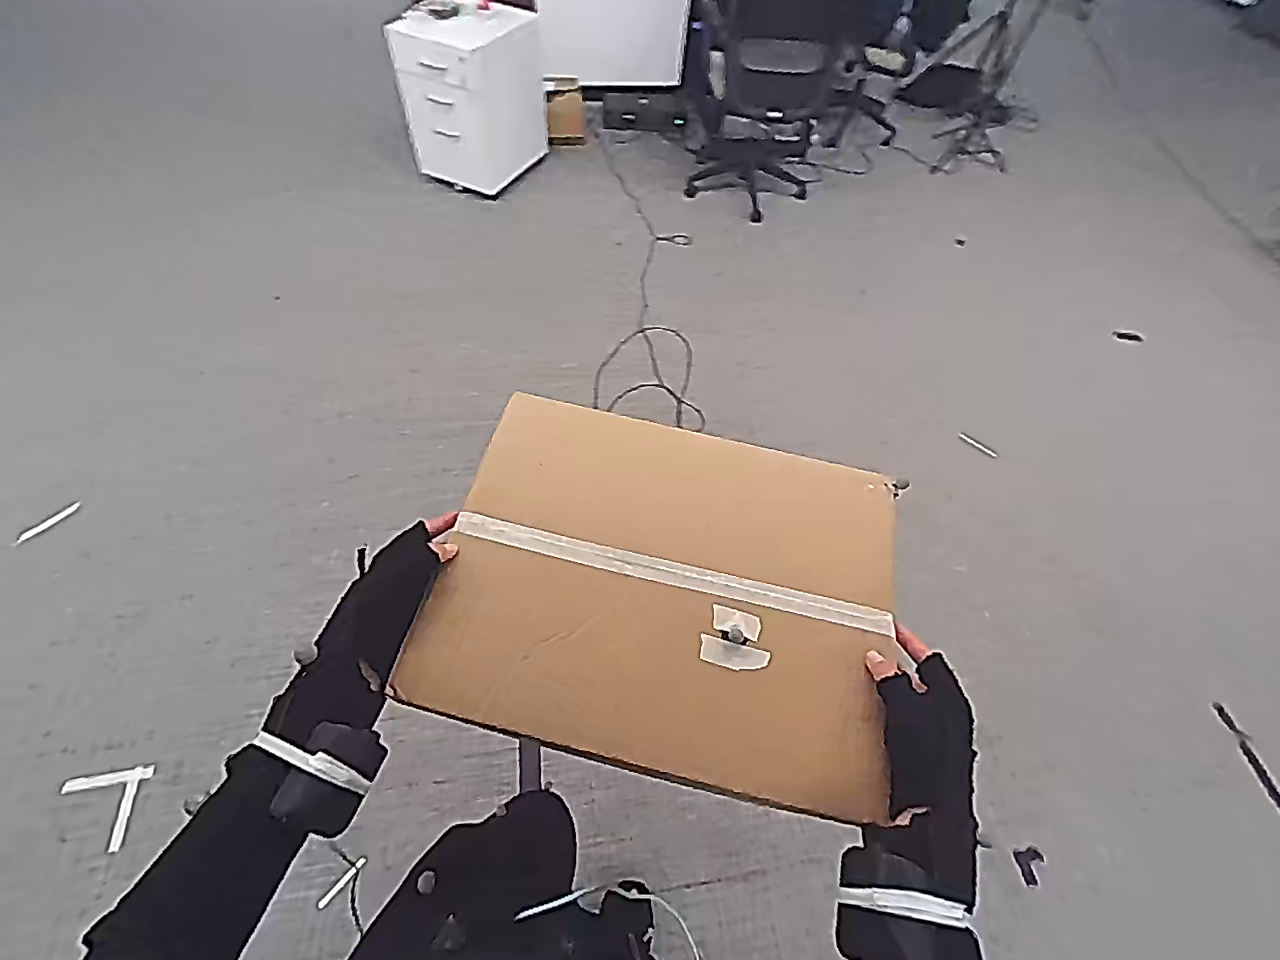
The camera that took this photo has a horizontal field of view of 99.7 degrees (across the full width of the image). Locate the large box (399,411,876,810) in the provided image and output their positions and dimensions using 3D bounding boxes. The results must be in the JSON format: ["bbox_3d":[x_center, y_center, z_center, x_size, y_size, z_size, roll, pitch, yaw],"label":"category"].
[{"bbox_3d":[0.012,0.163,0.637,0.408,0.320,0.320,13,62,3],"label":"large box"}]
